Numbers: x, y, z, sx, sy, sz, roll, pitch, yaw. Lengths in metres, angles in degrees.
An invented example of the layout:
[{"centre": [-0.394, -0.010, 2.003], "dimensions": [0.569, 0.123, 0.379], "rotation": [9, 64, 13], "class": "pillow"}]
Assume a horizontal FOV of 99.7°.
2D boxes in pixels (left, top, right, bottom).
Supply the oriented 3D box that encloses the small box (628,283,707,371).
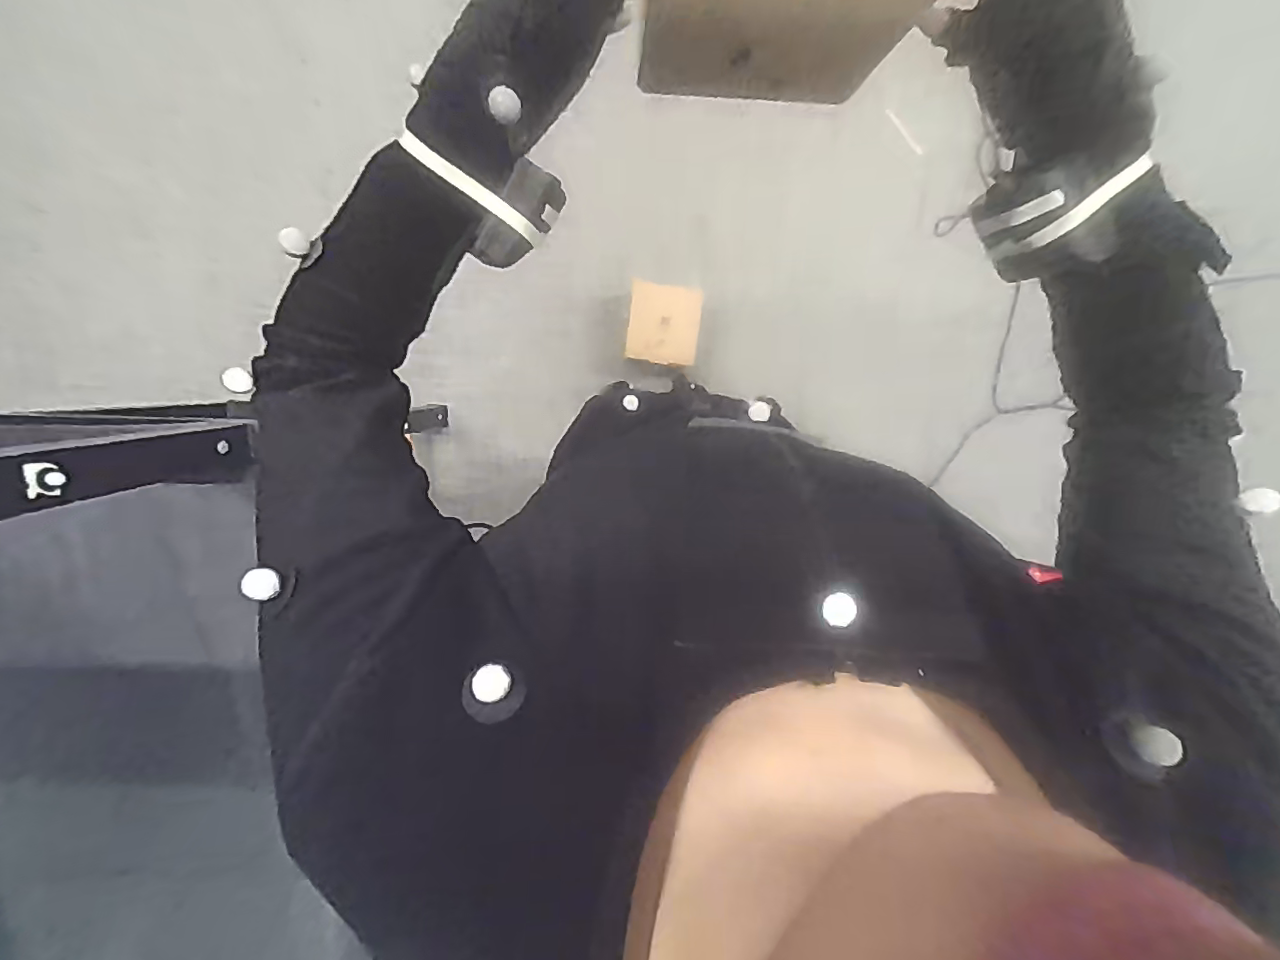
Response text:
[{"centre": [0.061, -0.372, 1.340], "dimensions": [0.168, 0.176, 0.179], "rotation": [8, 100, -2], "class": "small box"}]
